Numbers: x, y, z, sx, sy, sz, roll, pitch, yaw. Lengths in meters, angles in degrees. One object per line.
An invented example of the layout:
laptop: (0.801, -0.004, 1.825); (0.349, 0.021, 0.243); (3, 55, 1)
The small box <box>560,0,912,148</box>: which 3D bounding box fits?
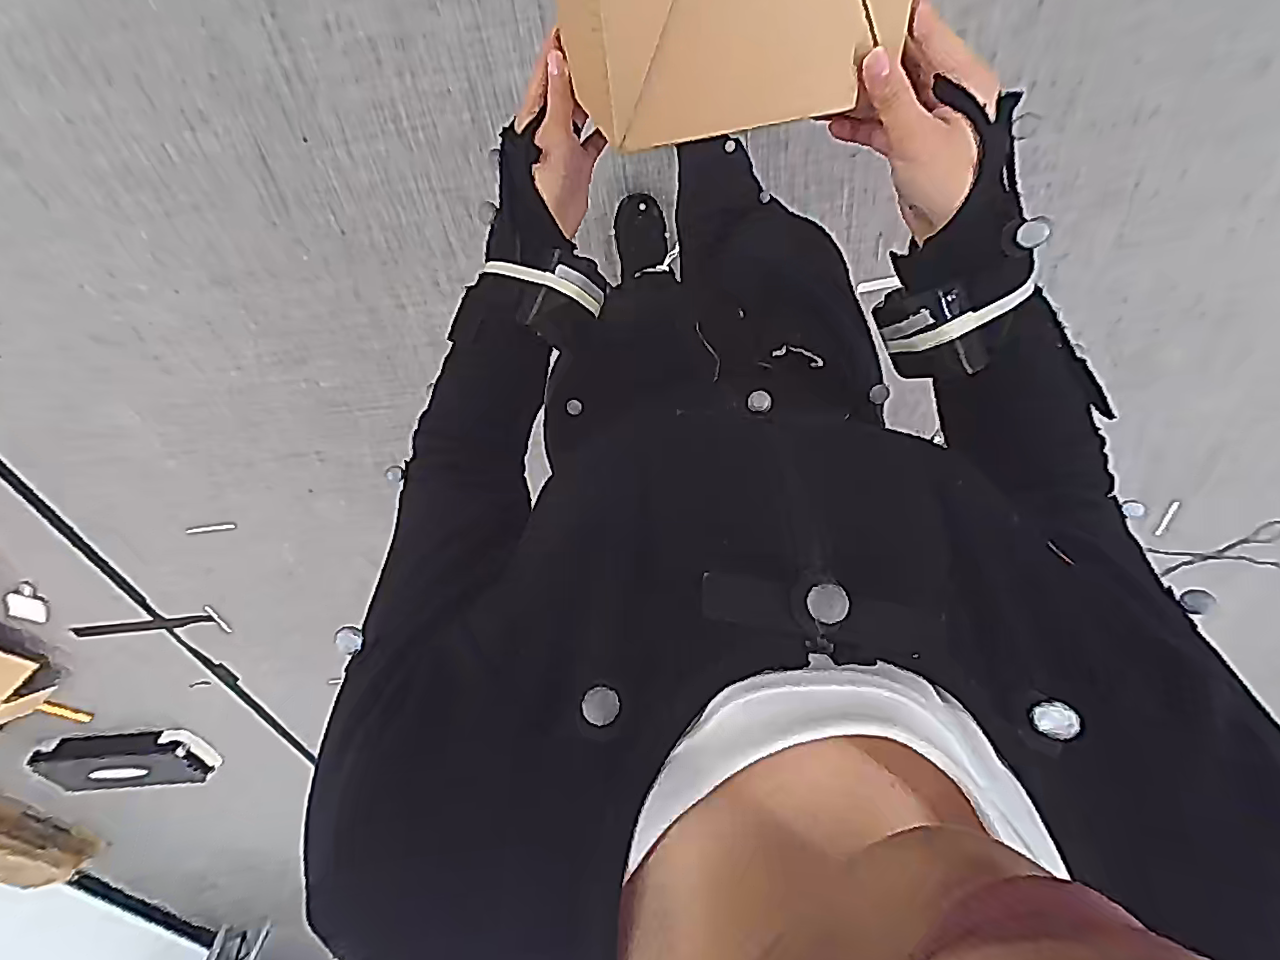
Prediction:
small box: (0.041, -0.316, 0.297); (0.168, 0.176, 0.179); (-15, 138, -6)
